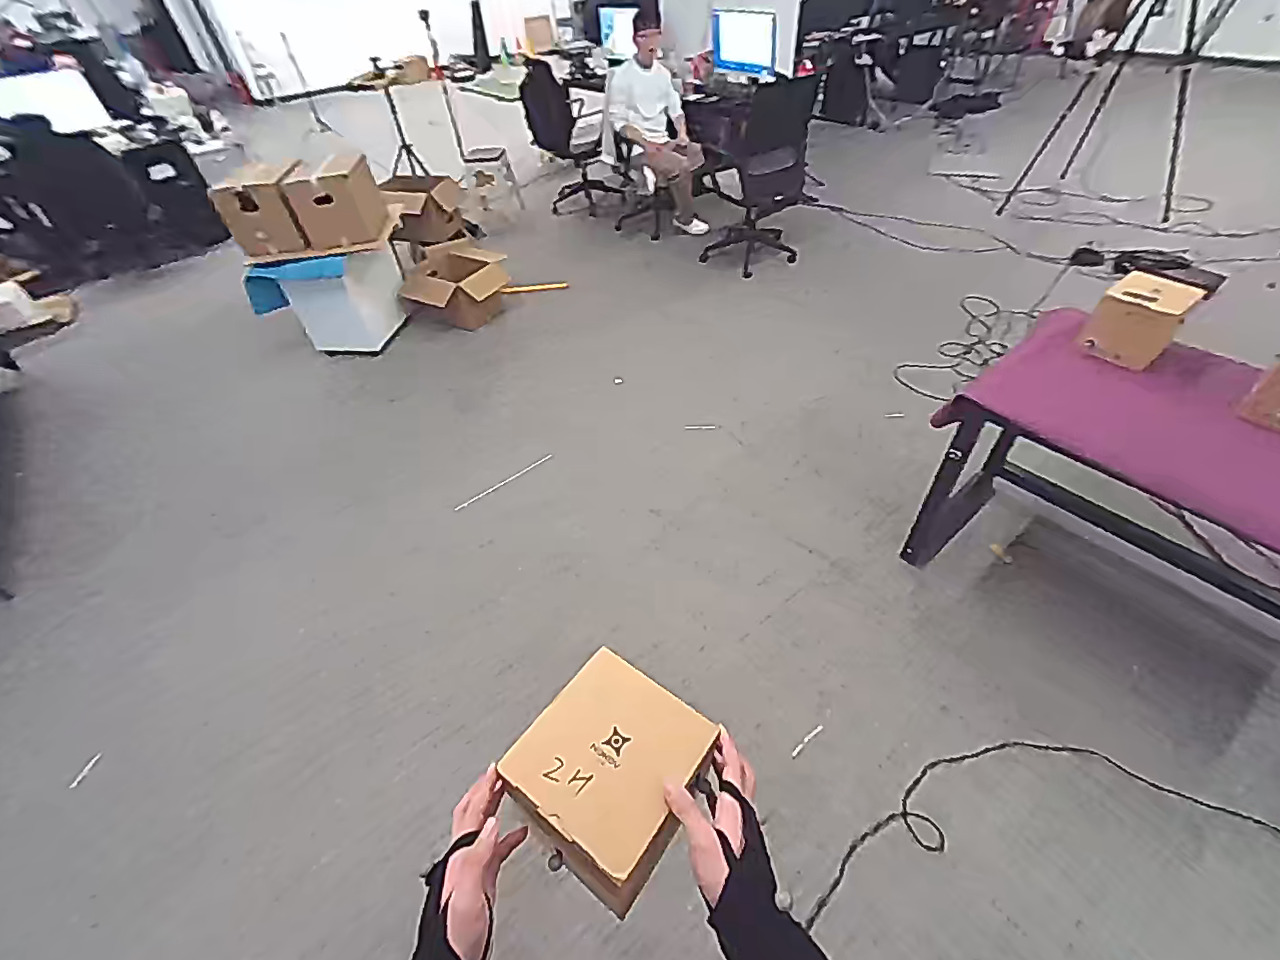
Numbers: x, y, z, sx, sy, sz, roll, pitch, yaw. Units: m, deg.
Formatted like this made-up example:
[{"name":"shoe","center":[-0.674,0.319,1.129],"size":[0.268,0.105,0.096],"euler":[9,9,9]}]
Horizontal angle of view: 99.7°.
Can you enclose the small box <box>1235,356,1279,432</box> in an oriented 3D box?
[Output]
[{"name":"small box","center":[1.521,-0.213,1.220],"size":[0.179,0.176,0.168],"euler":[-32,50,-23]}]

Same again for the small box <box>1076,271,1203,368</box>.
[{"name":"small box","center":[1.319,-0.425,1.444],"size":[0.179,0.176,0.168],"euler":[-31,51,-21]}]
